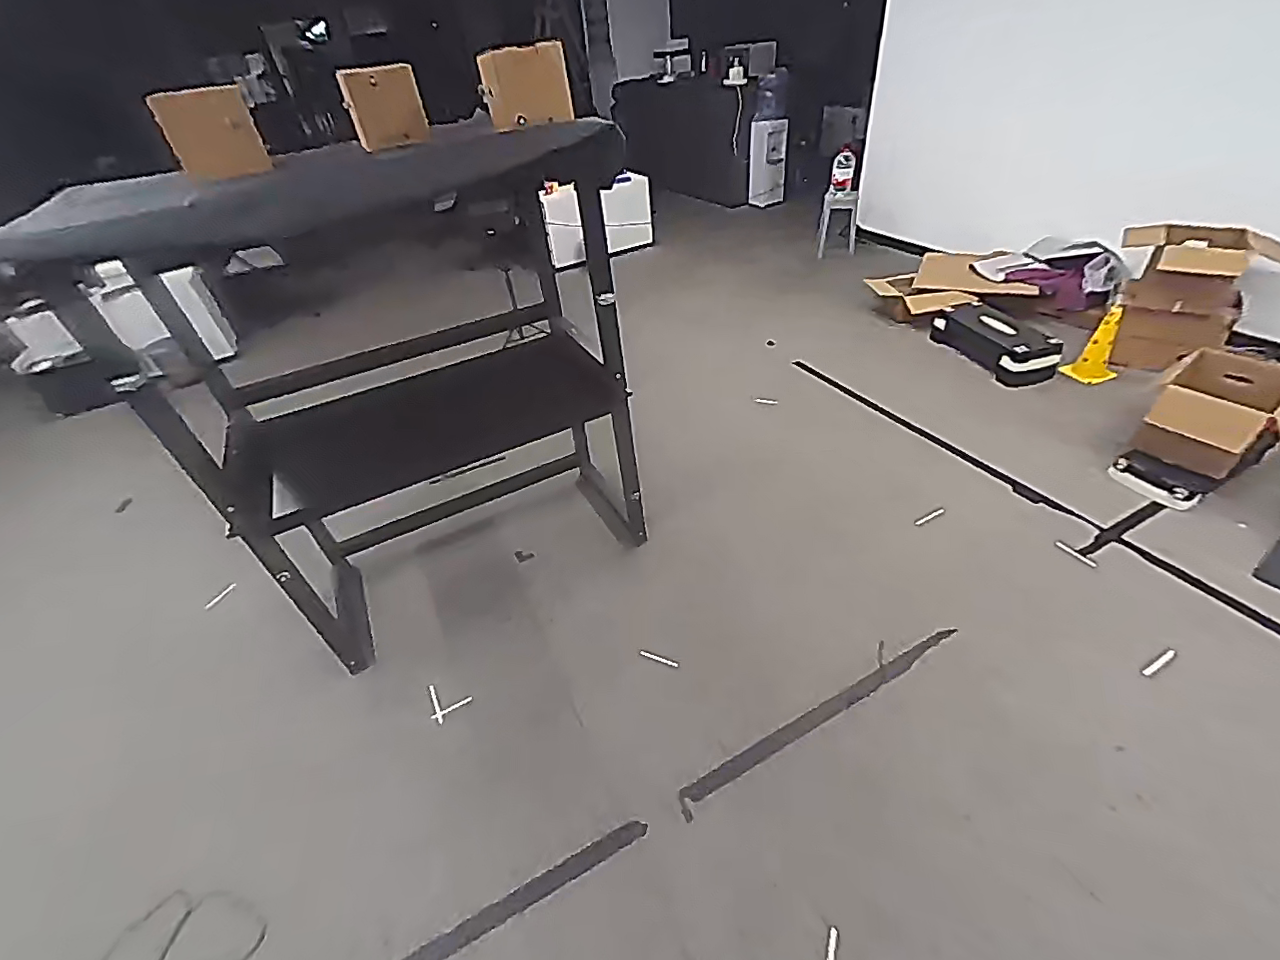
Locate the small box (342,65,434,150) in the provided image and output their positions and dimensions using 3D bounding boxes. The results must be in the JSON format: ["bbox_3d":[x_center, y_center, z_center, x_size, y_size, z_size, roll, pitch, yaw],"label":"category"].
[{"bbox_3d":[-0.667,-0.985,1.433,0.168,0.176,0.179,-23,42,-18],"label":"small box"}]

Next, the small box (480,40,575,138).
[{"bbox_3d":[-0.272,-0.949,1.322,0.168,0.176,0.179,-21,38,-15],"label":"small box"}]
